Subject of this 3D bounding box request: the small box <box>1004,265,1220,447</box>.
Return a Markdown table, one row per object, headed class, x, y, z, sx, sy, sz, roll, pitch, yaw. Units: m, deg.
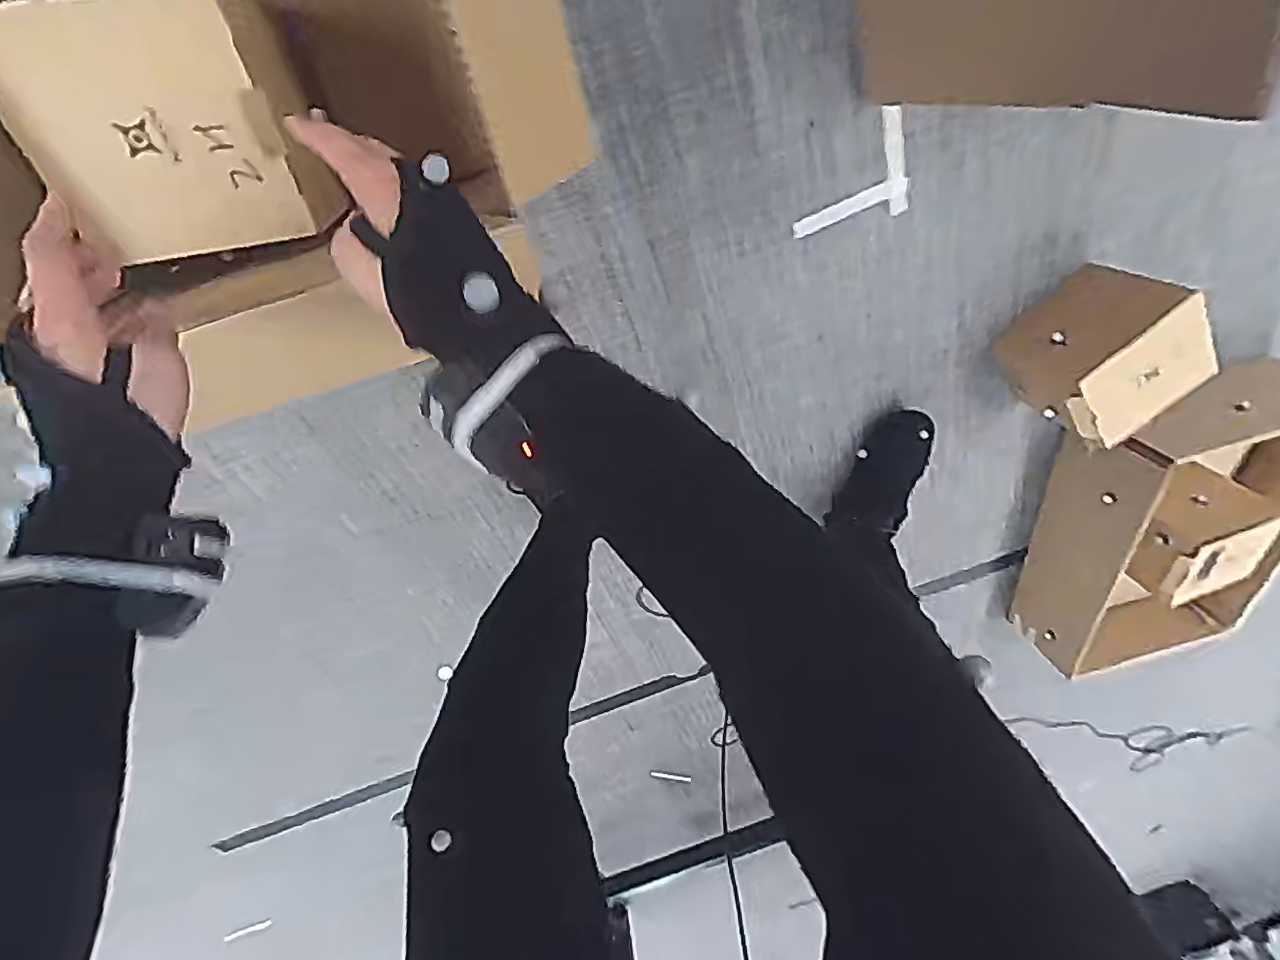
| class | x | y | z | sx | sy | sz | roll | pitch | yaw |
| --- | --- | --- | --- | --- | --- | --- | --- | --- | --- |
| small box | 0.691 | -0.189 | 0.813 | 0.179 | 0.176 | 0.168 | -42 | 123 | 15 |
